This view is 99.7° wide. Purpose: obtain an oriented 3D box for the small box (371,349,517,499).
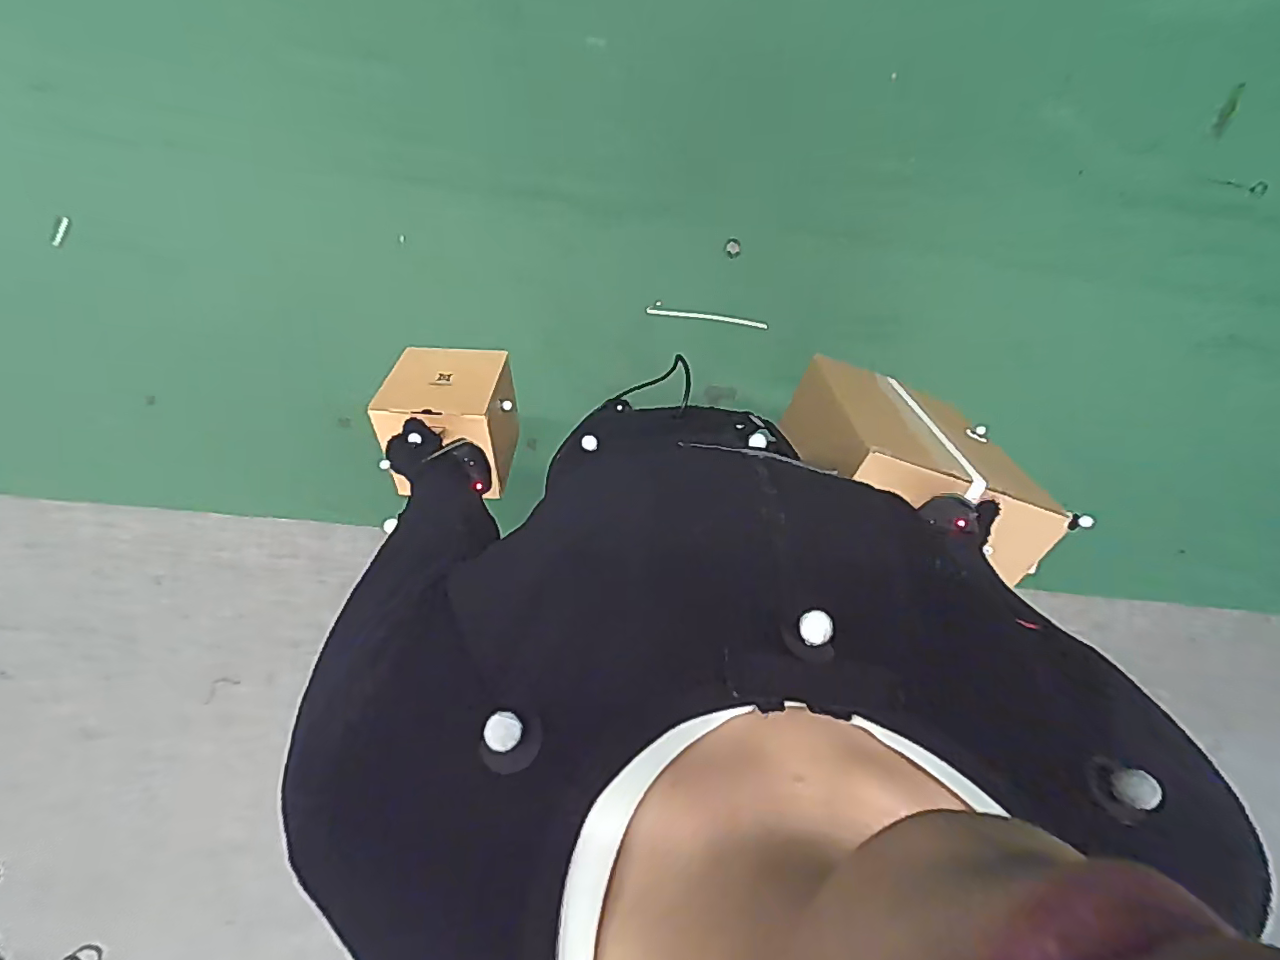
[{"bbox_3d":[-0.301,-0.091,0.876,0.168,0.179,0.176,2,134,-1],"label":"small box"}]
